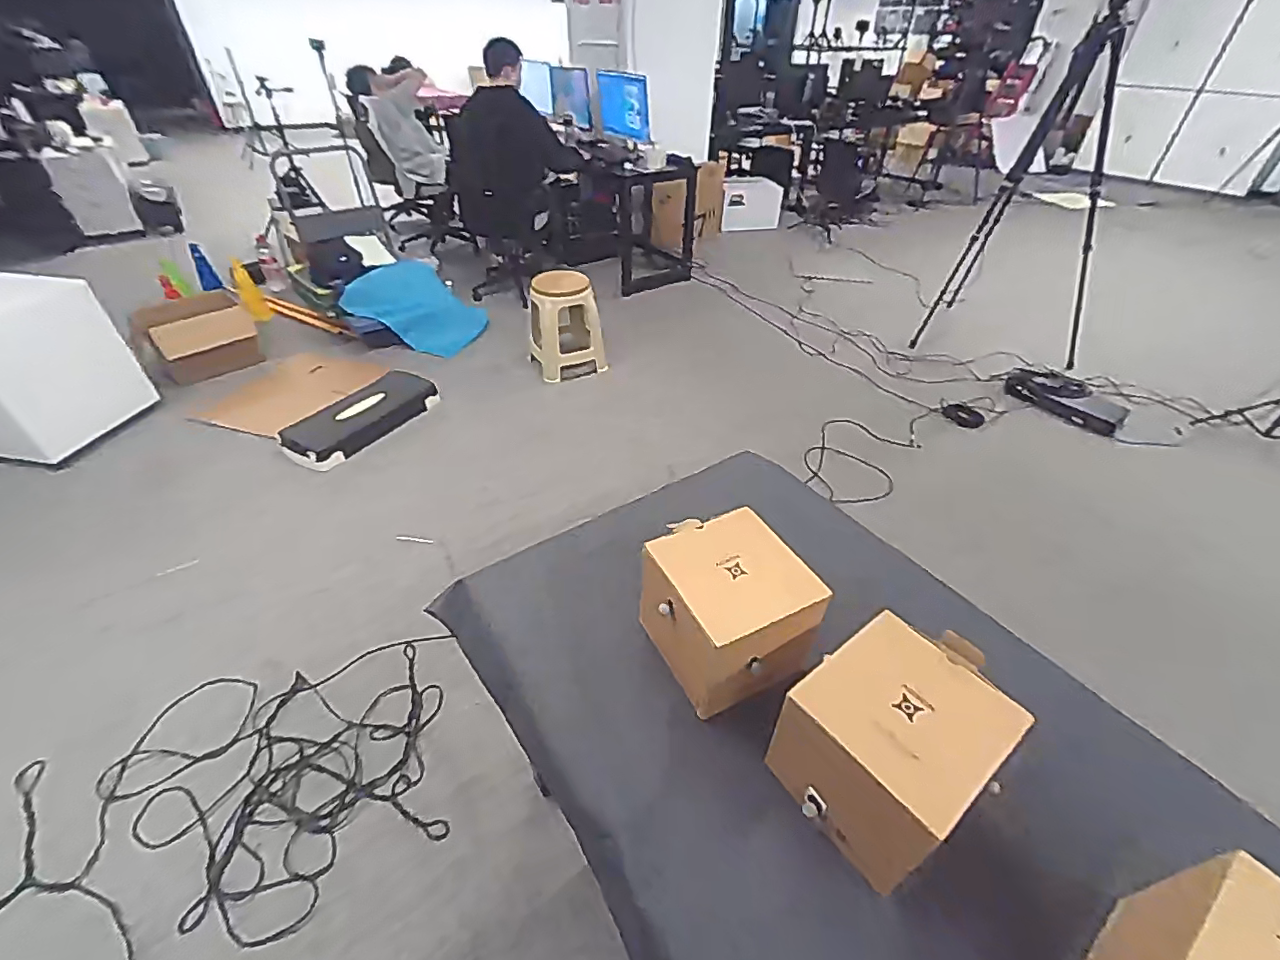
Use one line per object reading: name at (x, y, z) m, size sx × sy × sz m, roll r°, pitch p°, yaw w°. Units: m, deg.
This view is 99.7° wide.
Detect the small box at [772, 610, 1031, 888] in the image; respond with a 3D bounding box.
small box at (0.264, 0.283, 0.583) m, size 0.179 × 0.176 × 0.168 m, roll -26°, pitch 45°, yaw -29°

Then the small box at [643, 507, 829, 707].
small box at (0.114, 0.170, 0.716) m, size 0.168 × 0.176 × 0.179 m, roll -17°, pitch 43°, yaw -22°
